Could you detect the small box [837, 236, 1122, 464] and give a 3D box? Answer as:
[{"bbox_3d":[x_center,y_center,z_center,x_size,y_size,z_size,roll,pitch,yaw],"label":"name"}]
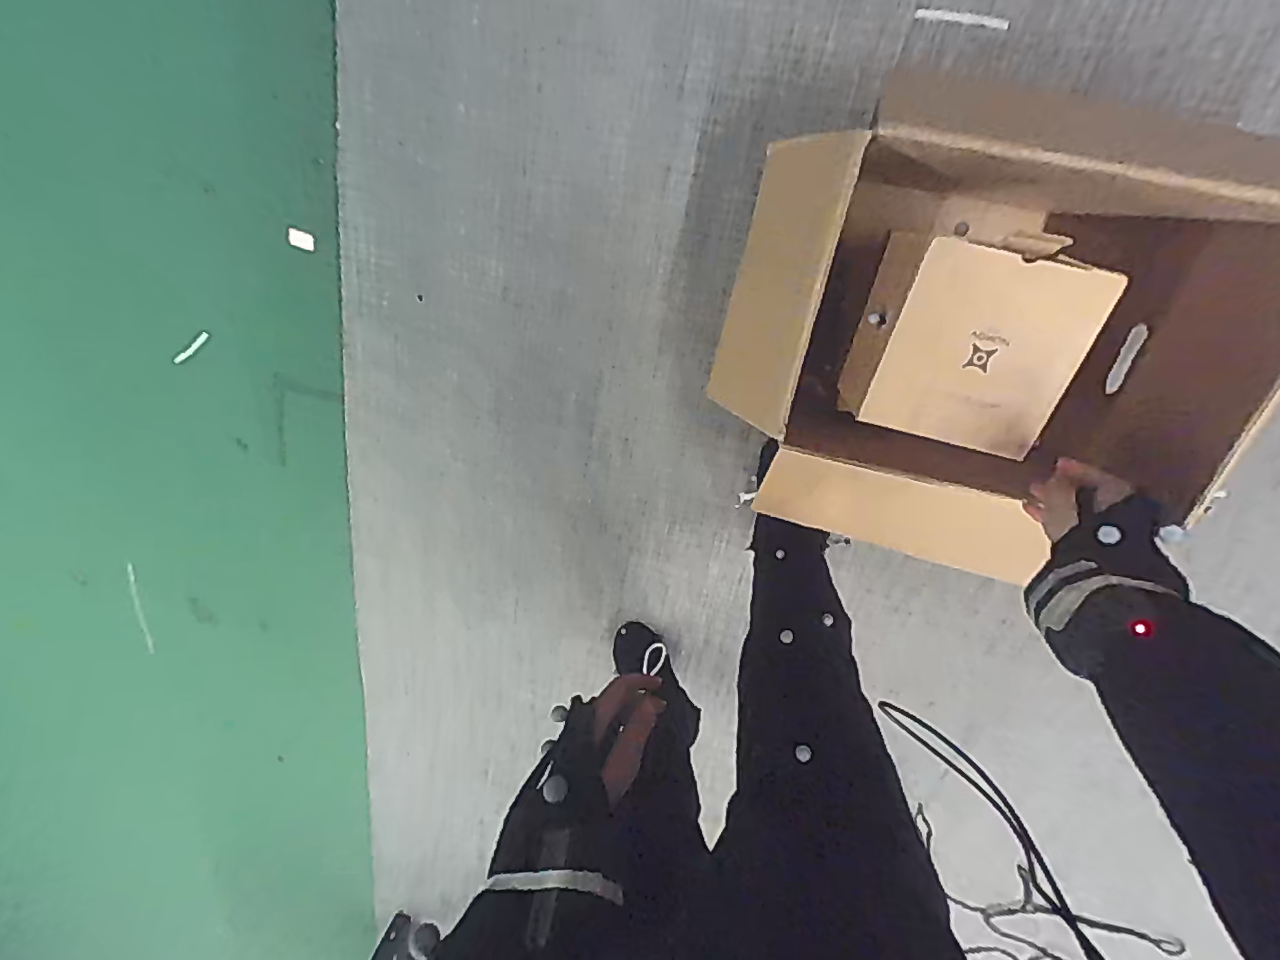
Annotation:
[{"bbox_3d":[0.324,-0.145,0.568,0.168,0.176,0.179,16,117,3],"label":"small box"}]
